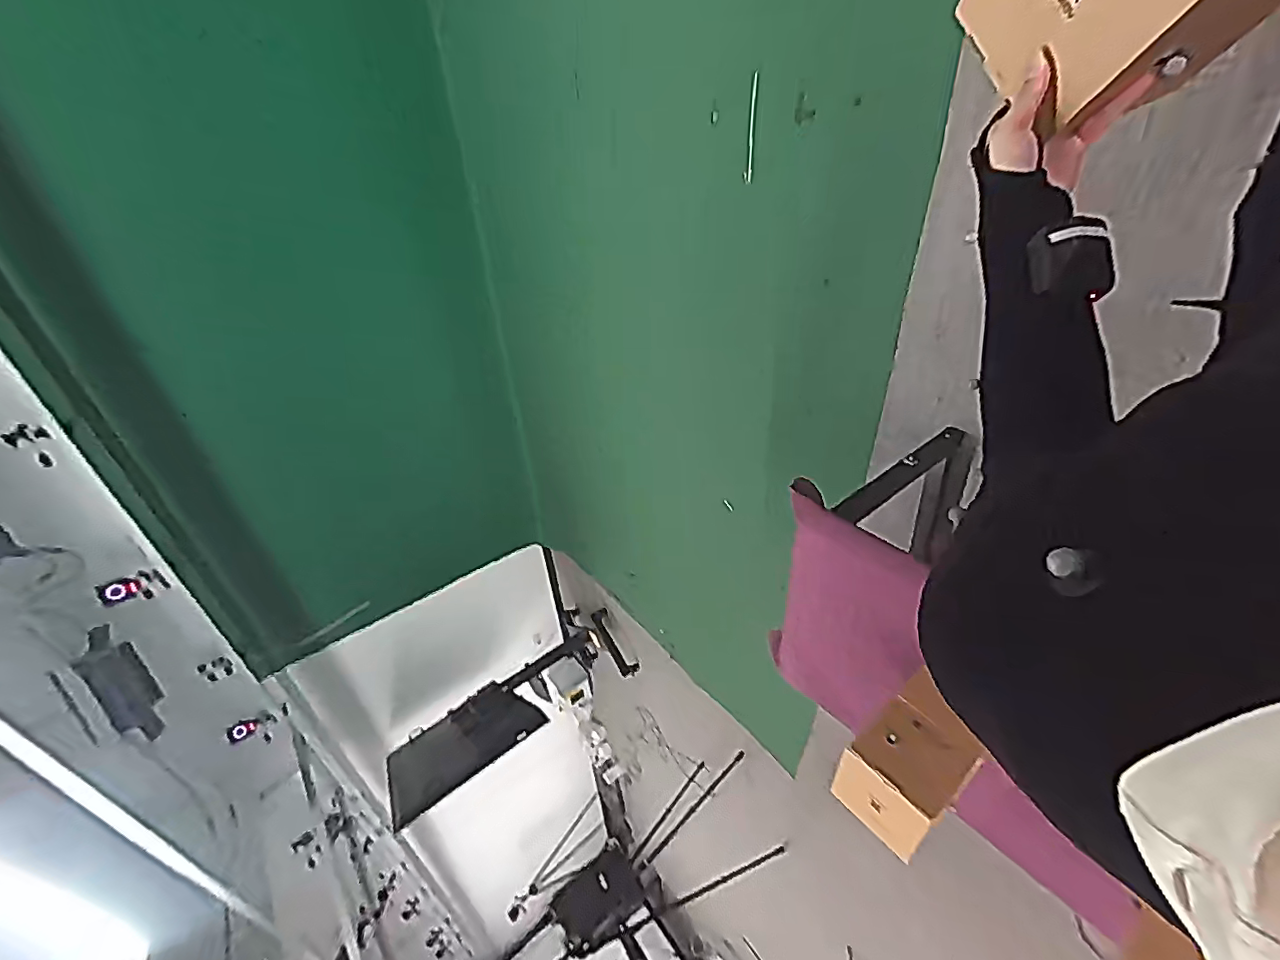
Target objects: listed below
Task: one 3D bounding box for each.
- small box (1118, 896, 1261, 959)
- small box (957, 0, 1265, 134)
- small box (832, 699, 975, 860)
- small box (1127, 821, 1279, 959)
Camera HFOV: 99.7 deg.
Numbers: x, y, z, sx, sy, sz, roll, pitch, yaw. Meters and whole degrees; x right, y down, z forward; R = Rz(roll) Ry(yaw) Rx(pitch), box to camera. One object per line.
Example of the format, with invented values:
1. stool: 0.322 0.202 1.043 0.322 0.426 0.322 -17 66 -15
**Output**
1. small box: 0.756 0.732 0.735 0.168 0.176 0.179 28 135 48
2. small box: 0.419 -0.441 0.443 0.179 0.176 0.168 118 128 -81
3. small box: 0.497 0.555 1.022 0.168 0.176 0.179 36 141 41
4. small box: 0.887 0.668 0.807 0.168 0.176 0.179 30 137 46
